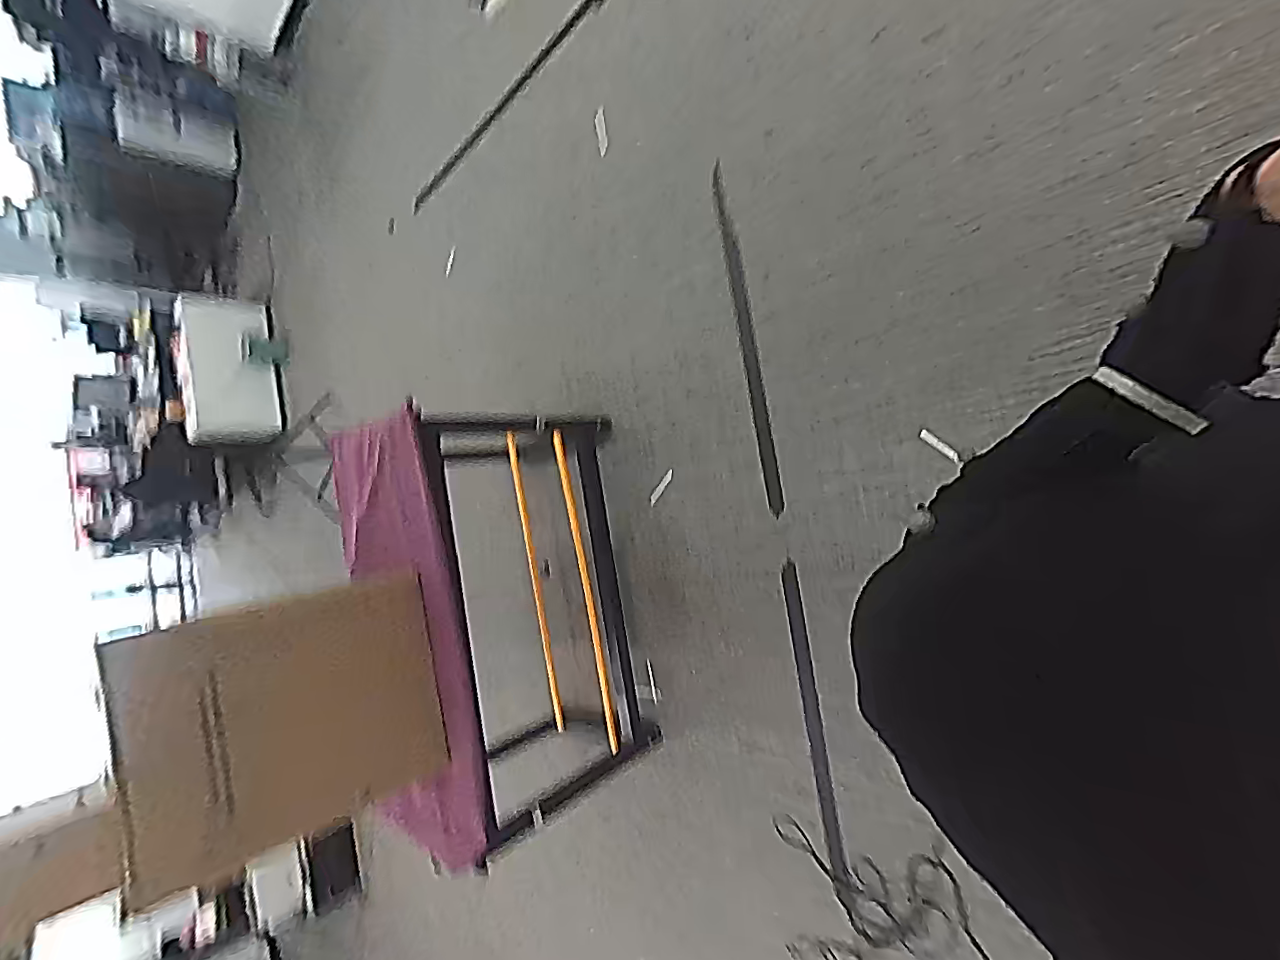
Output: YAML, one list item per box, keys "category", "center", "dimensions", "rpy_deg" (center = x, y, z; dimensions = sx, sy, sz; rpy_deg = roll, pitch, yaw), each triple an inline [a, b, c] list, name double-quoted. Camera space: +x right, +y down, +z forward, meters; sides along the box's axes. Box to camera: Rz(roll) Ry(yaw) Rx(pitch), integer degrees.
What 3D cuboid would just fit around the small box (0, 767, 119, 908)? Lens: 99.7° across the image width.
- category: "small box"
  center: [-1.192, 0.717, 1.109]
  dimensions: [0.179, 0.176, 0.168]
  rpy_deg: [-15, 84, 43]
